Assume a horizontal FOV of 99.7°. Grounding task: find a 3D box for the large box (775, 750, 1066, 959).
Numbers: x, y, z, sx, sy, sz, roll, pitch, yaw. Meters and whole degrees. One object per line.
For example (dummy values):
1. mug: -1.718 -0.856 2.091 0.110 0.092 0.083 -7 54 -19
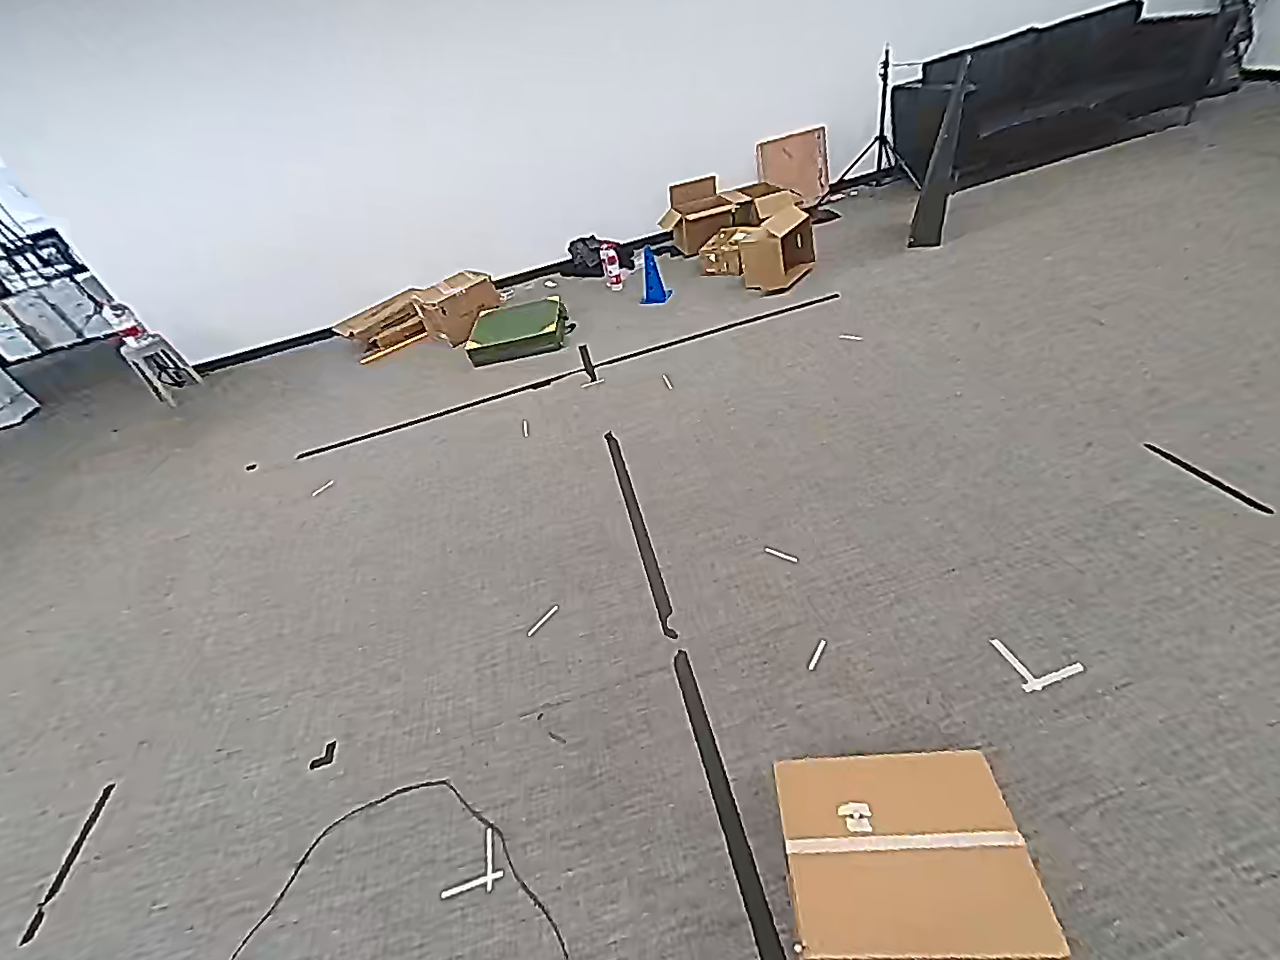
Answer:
1. large box: 0.506 0.774 1.072 0.408 0.320 0.320 -9 38 9
